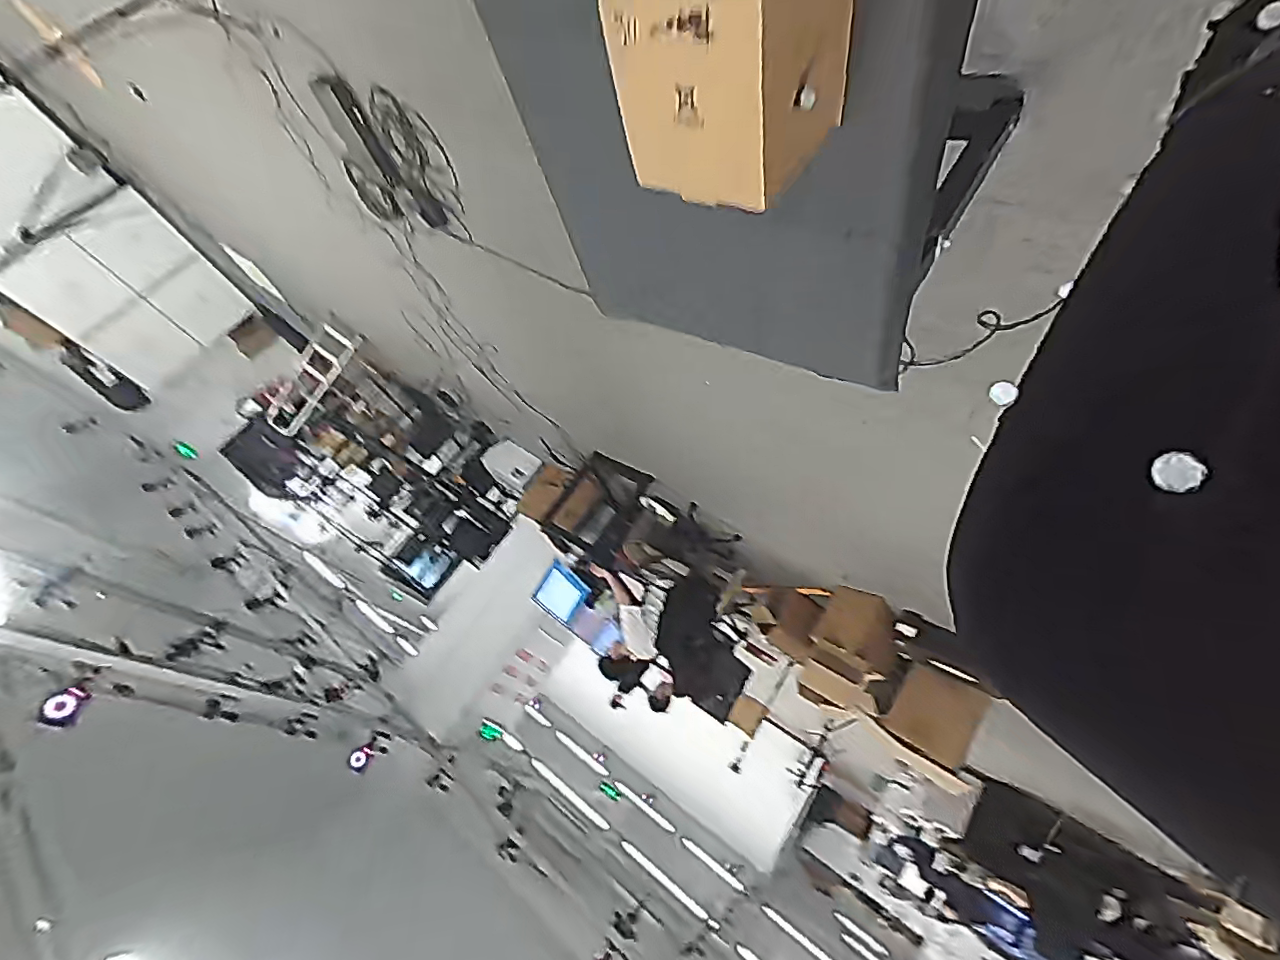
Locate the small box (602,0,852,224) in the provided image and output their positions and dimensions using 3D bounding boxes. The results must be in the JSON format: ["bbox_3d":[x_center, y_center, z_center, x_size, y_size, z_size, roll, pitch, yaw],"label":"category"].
[{"bbox_3d":[0.094,-0.397,0.540,0.168,0.176,0.179,28,158,27],"label":"small box"}]
